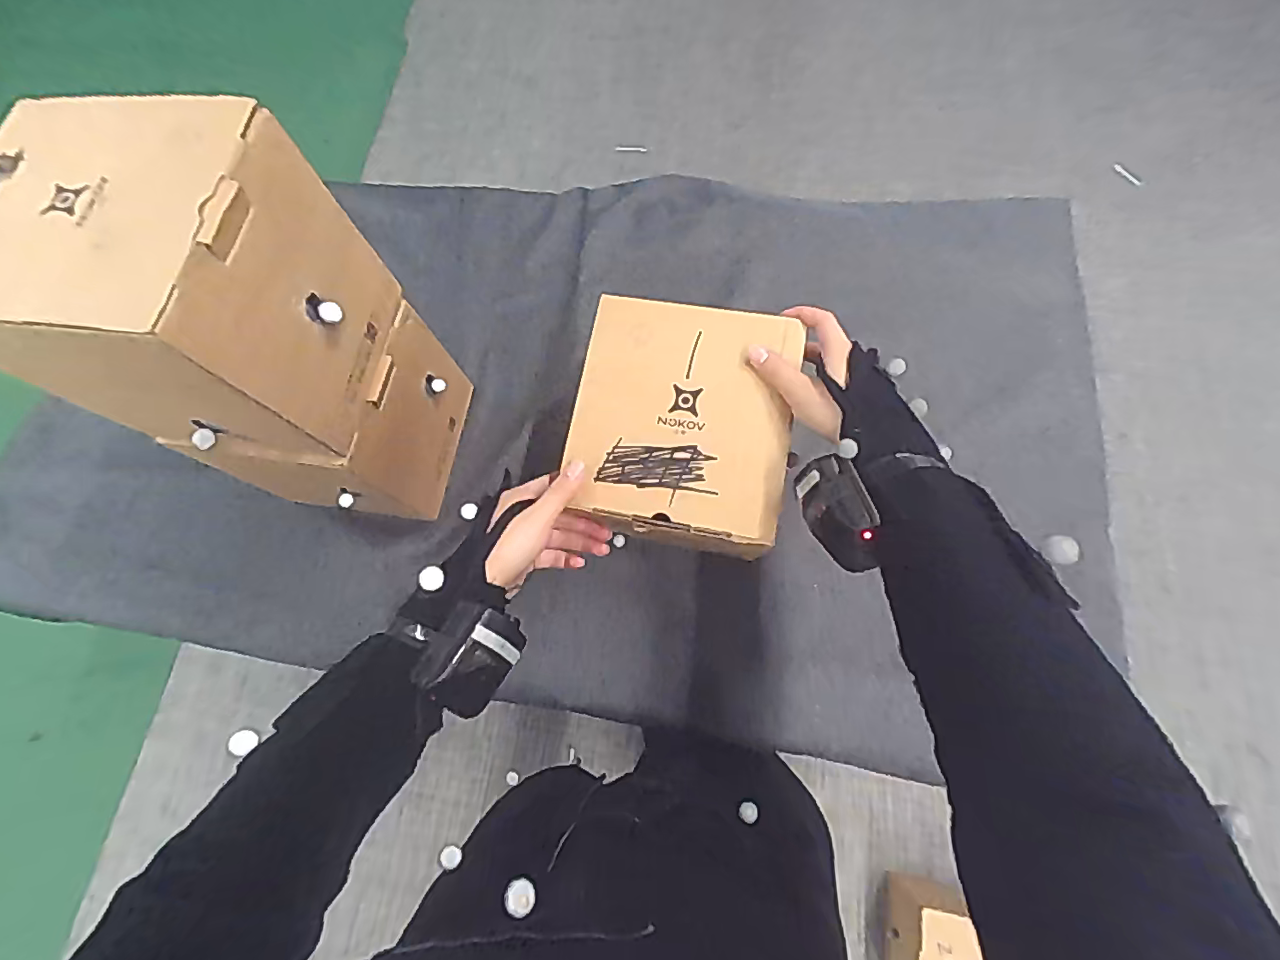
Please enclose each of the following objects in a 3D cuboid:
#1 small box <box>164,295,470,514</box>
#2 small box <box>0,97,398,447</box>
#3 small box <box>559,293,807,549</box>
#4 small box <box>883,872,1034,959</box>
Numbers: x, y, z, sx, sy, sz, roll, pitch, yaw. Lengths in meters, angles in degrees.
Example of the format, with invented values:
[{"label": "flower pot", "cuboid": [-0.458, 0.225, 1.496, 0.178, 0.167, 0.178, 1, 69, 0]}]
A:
[{"label": "small box", "cuboid": [-0.294, -0.071, 0.541, 0.179, 0.176, 0.168, 6, 70, 8]}, {"label": "small box", "cuboid": [-0.308, -0.133, 0.389, 0.179, 0.176, 0.168, 6, 71, 6]}, {"label": "small box", "cuboid": [0.042, -0.039, 0.488, 0.168, 0.176, 0.179, 10, 79, 8]}, {"label": "small box", "cuboid": [0.540, 0.811, 0.932, 0.179, 0.176, 0.168, 7, 71, 8]}]
